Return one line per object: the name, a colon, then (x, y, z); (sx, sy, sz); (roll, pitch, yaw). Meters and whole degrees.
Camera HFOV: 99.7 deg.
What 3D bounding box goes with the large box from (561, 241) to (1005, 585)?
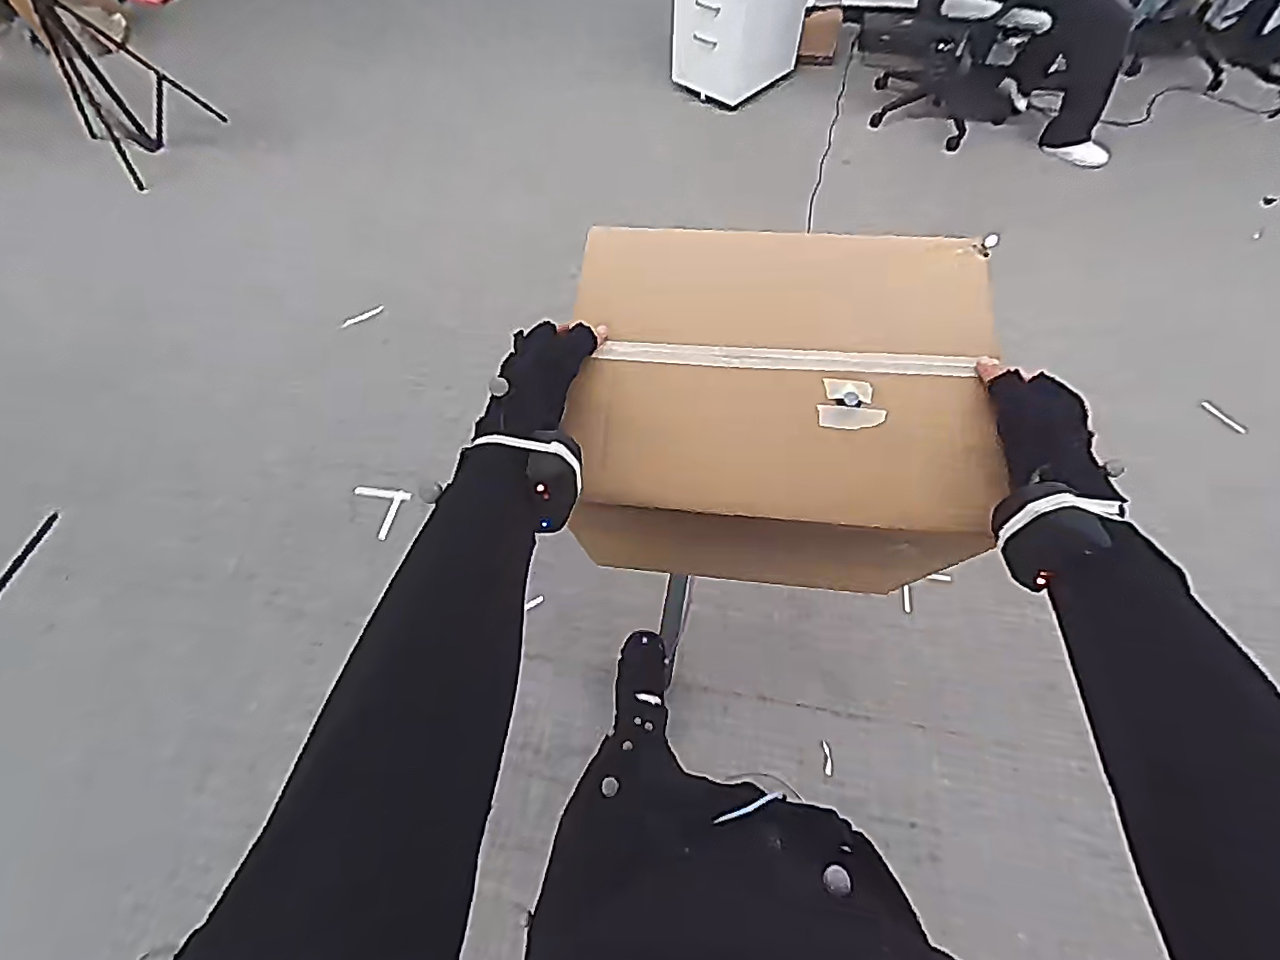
large box: (0.144, -0.061, 0.675); (0.408, 0.320, 0.320); (5, 71, 6)
